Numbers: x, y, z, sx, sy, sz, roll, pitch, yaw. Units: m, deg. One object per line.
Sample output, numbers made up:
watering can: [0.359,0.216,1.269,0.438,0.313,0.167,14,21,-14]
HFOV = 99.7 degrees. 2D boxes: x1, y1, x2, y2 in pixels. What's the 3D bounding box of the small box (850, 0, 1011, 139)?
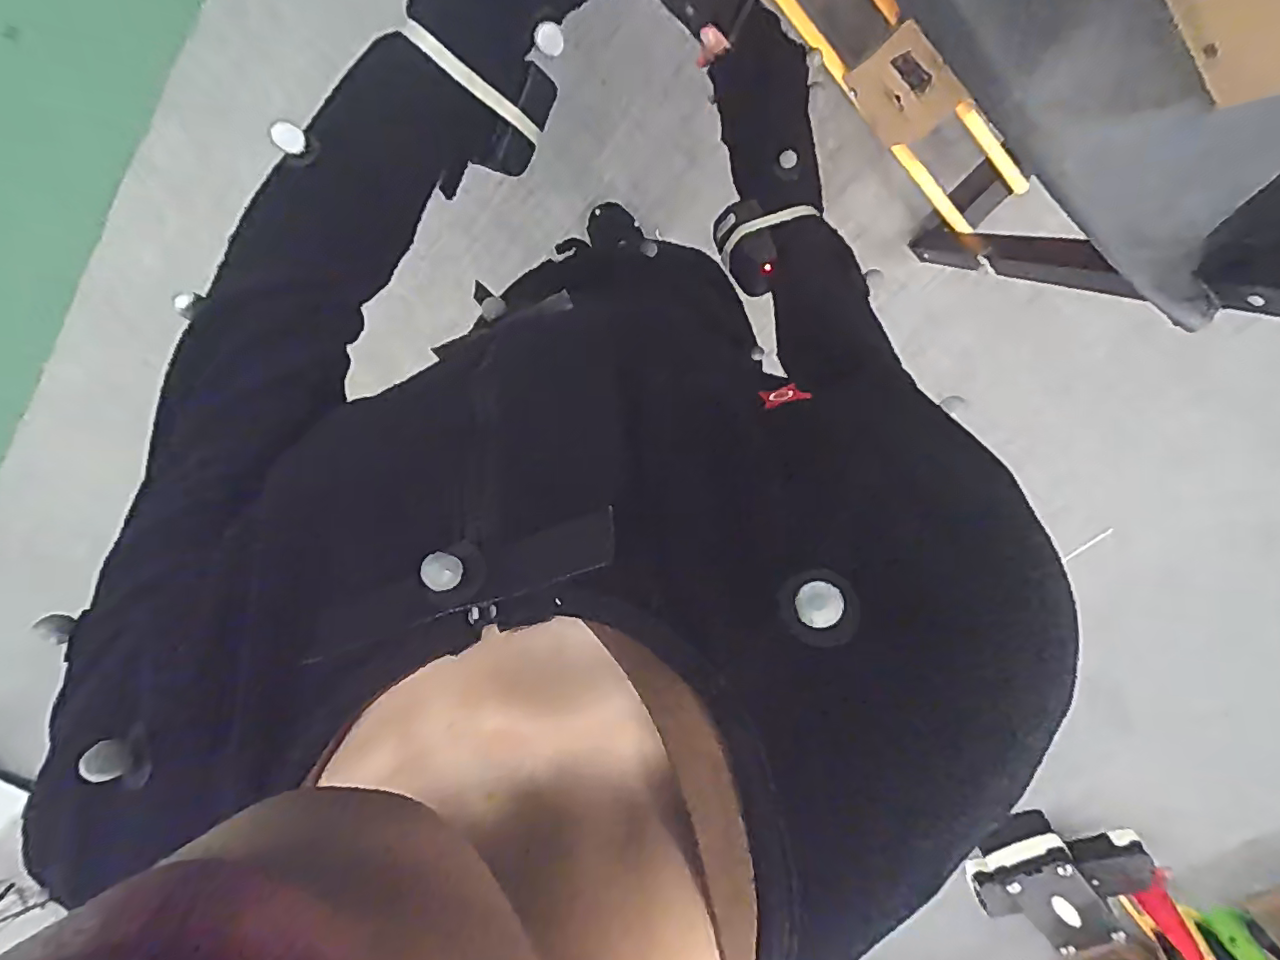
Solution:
small box: [0.504,-0.753,0.974,0.179,0.176,0.168,-41,109,19]
